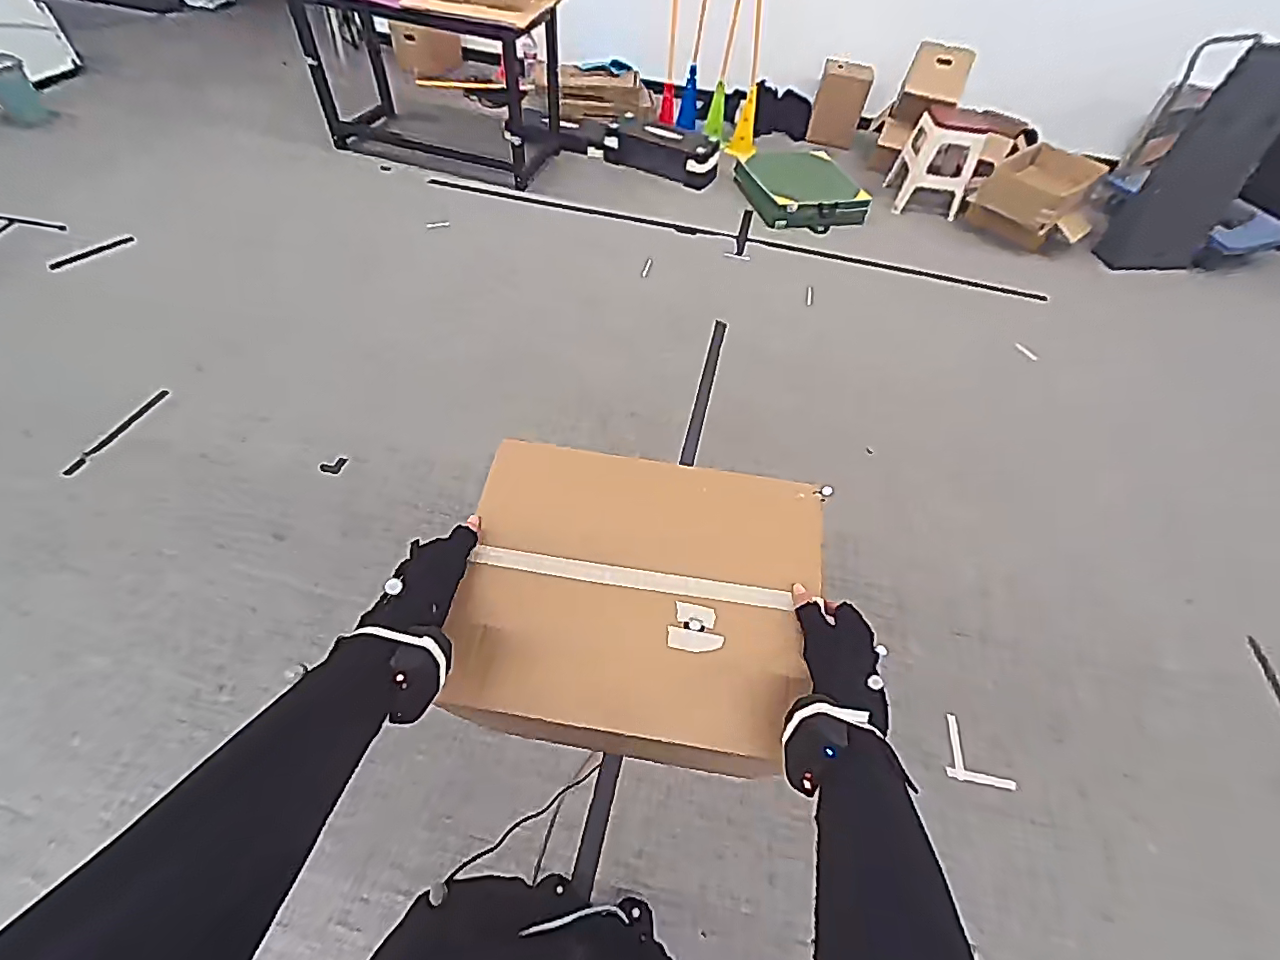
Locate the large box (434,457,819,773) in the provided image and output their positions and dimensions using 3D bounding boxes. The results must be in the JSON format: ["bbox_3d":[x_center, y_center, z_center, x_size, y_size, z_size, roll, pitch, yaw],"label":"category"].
[{"bbox_3d":[-0.005,0.200,0.747,0.408,0.320,0.320,9,61,2],"label":"large box"}]
